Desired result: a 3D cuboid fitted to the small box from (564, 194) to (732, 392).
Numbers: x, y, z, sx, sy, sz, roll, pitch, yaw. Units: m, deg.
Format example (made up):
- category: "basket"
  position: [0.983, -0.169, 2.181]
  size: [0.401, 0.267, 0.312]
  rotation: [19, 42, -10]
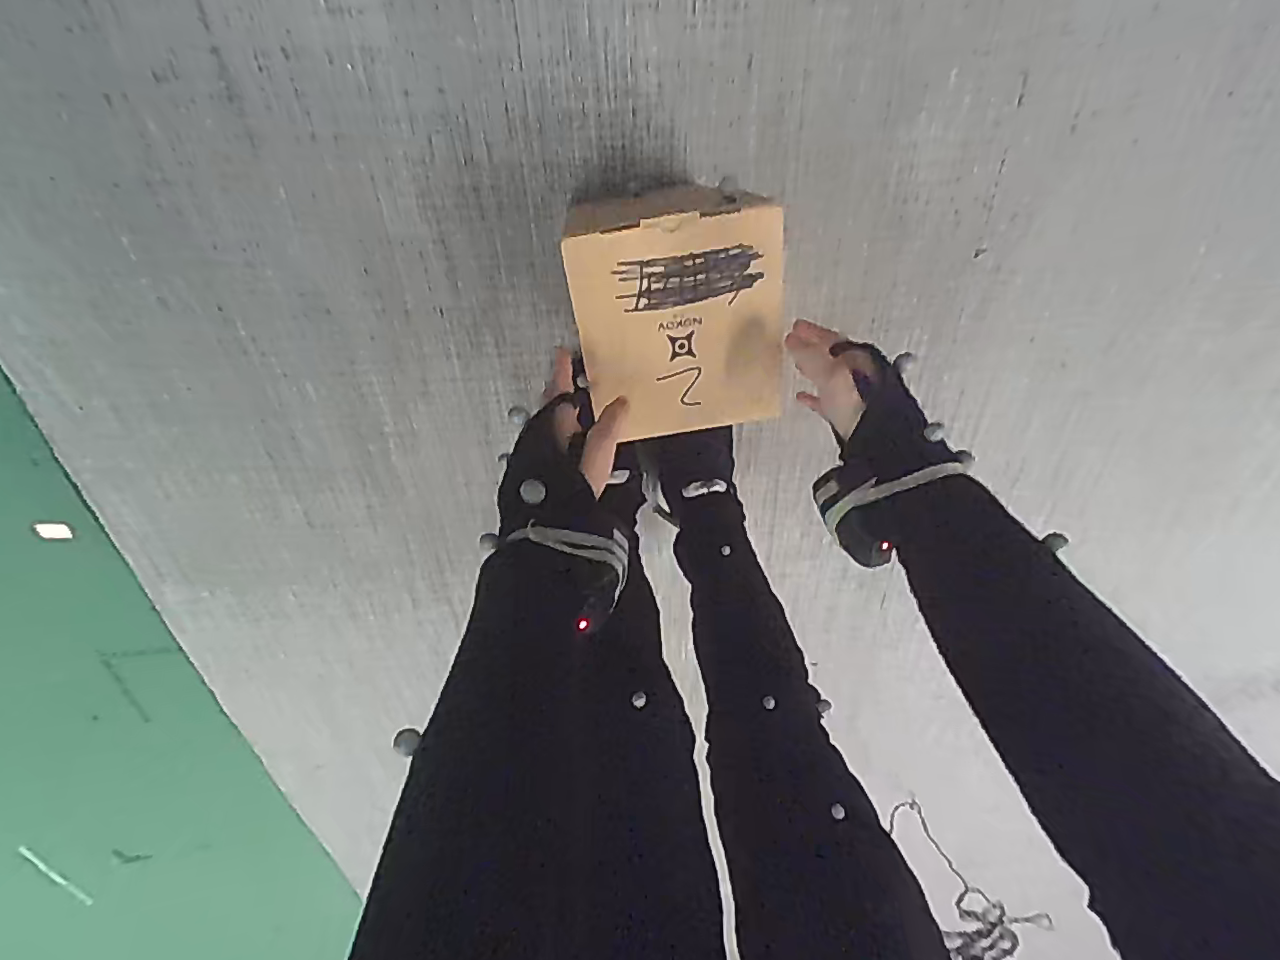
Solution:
- category: "small box"
  position: [0.010, -0.228, 0.648]
  size: [0.168, 0.176, 0.179]
  rotation: [-10, 122, 1]
